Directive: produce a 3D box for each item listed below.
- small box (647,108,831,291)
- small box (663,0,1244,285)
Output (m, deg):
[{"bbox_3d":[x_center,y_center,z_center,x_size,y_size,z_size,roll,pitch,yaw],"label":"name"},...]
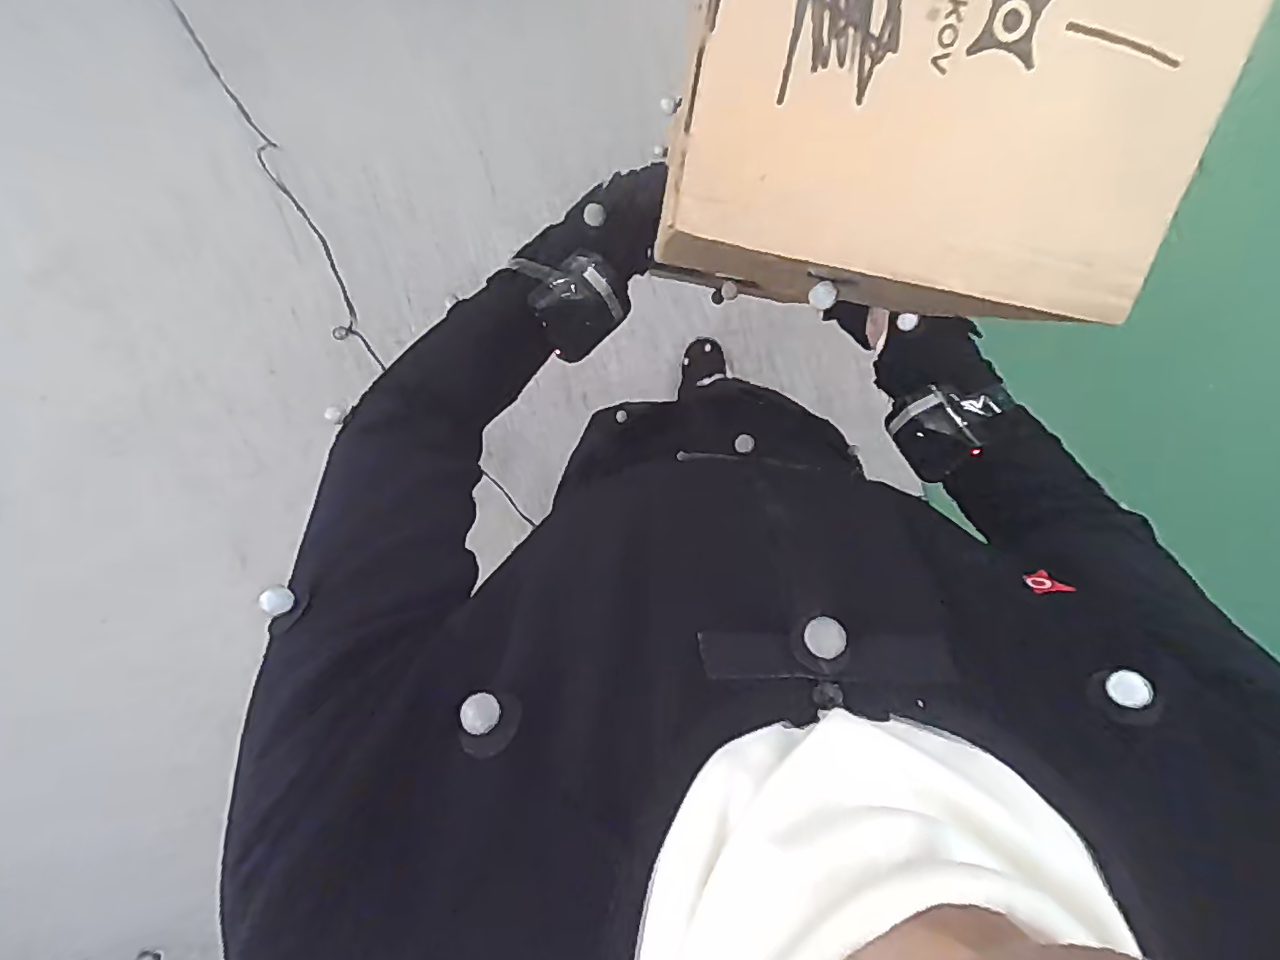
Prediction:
[{"bbox_3d":[0.108,-0.297,0.558,0.179,0.176,0.168,9,108,-4],"label":"small box"},{"bbox_3d":[0.110,-0.190,0.249,0.179,0.176,0.168,10,109,-4],"label":"small box"}]
